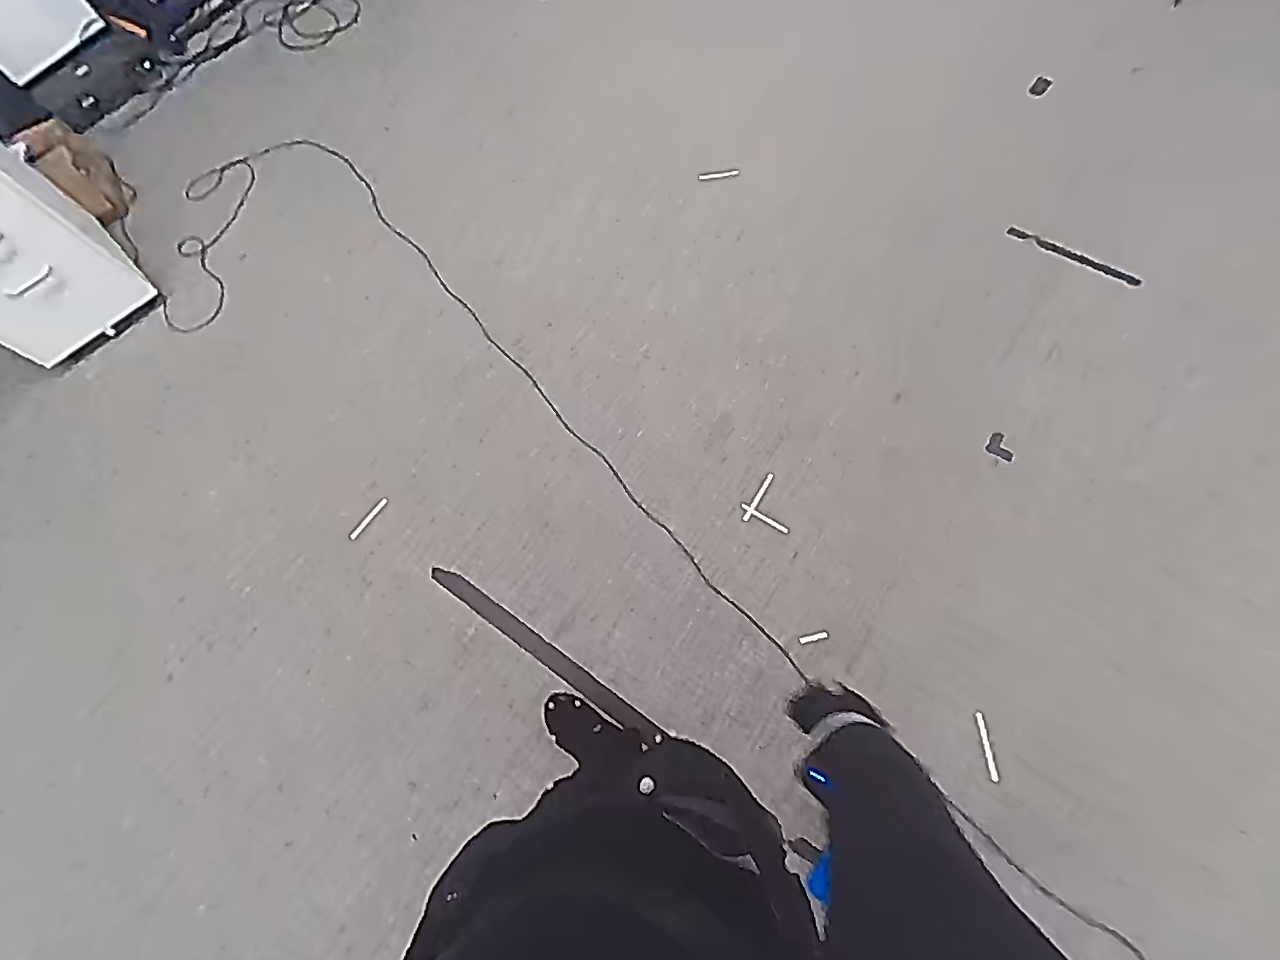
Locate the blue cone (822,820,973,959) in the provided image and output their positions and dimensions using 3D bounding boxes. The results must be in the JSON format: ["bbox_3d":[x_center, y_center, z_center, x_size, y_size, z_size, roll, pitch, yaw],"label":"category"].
[{"bbox_3d":[0.471,0.765,0.947,0.192,0.380,0.193,34,74,17],"label":"blue cone"}]
